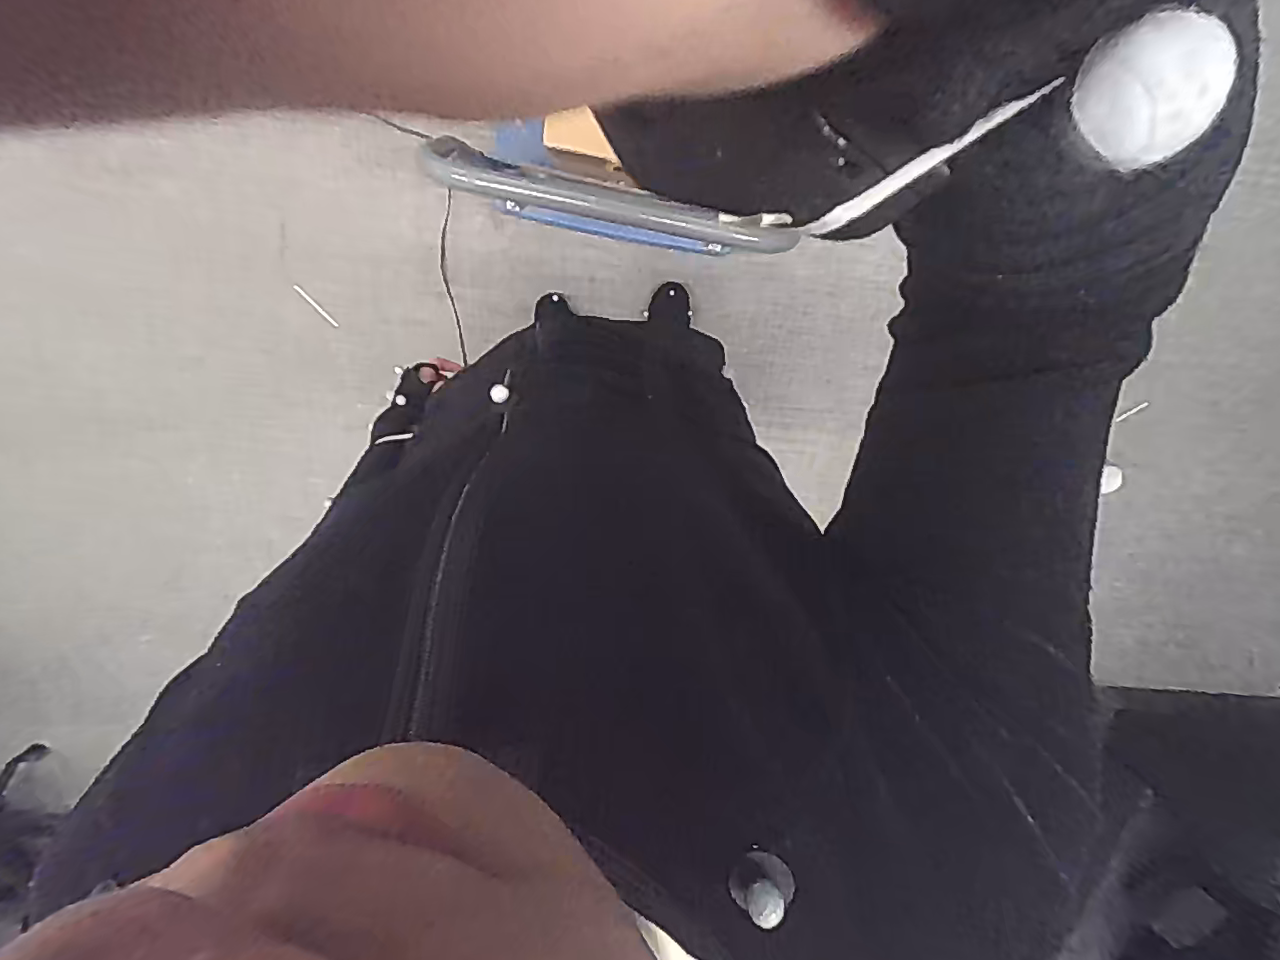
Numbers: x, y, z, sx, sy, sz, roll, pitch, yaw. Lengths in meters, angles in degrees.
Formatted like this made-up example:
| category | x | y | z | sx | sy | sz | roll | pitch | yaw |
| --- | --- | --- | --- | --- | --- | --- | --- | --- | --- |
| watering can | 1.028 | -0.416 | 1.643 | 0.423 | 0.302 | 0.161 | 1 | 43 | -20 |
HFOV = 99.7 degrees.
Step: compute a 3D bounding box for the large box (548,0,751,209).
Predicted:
| category | x | y | z | sx | sy | sz | roll | pitch | yaw |
| --- | --- | --- | --- | --- | --- | --- | --- | --- | --- |
| large box | 0.014 | -0.788 | 1.050 | 0.320 | 0.320 | 0.408 | 9 | 109 | -6 |
